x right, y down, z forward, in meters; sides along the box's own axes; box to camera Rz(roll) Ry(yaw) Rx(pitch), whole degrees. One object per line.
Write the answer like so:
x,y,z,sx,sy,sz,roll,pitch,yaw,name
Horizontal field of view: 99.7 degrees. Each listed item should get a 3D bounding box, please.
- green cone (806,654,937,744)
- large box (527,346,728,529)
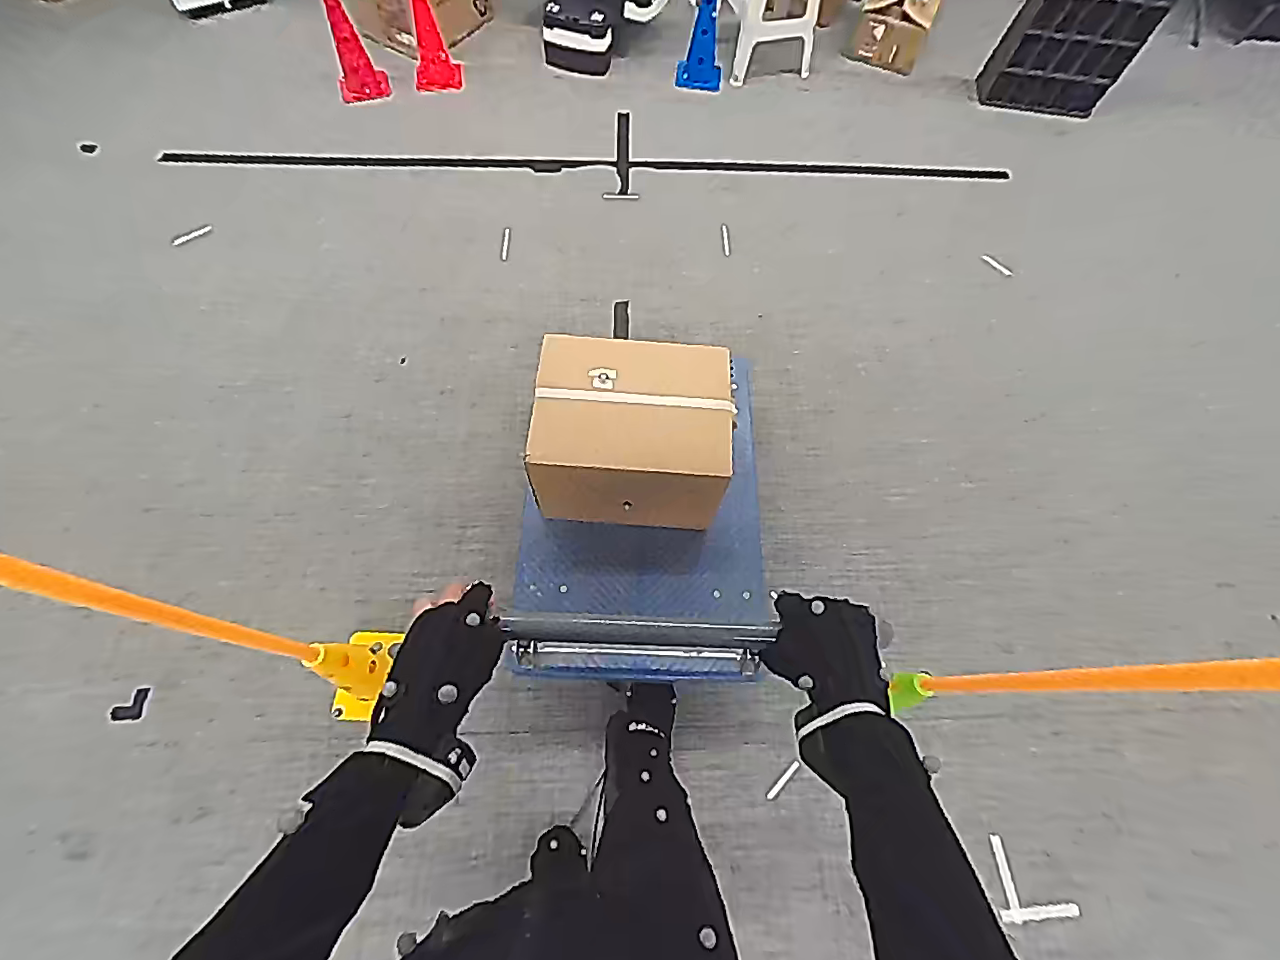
0.524,0.462,1.176,0.202,0.368,0.200,5,64,-2,green cone
-0.020,-0.084,1.253,0.408,0.320,0.320,4,65,0,large box
